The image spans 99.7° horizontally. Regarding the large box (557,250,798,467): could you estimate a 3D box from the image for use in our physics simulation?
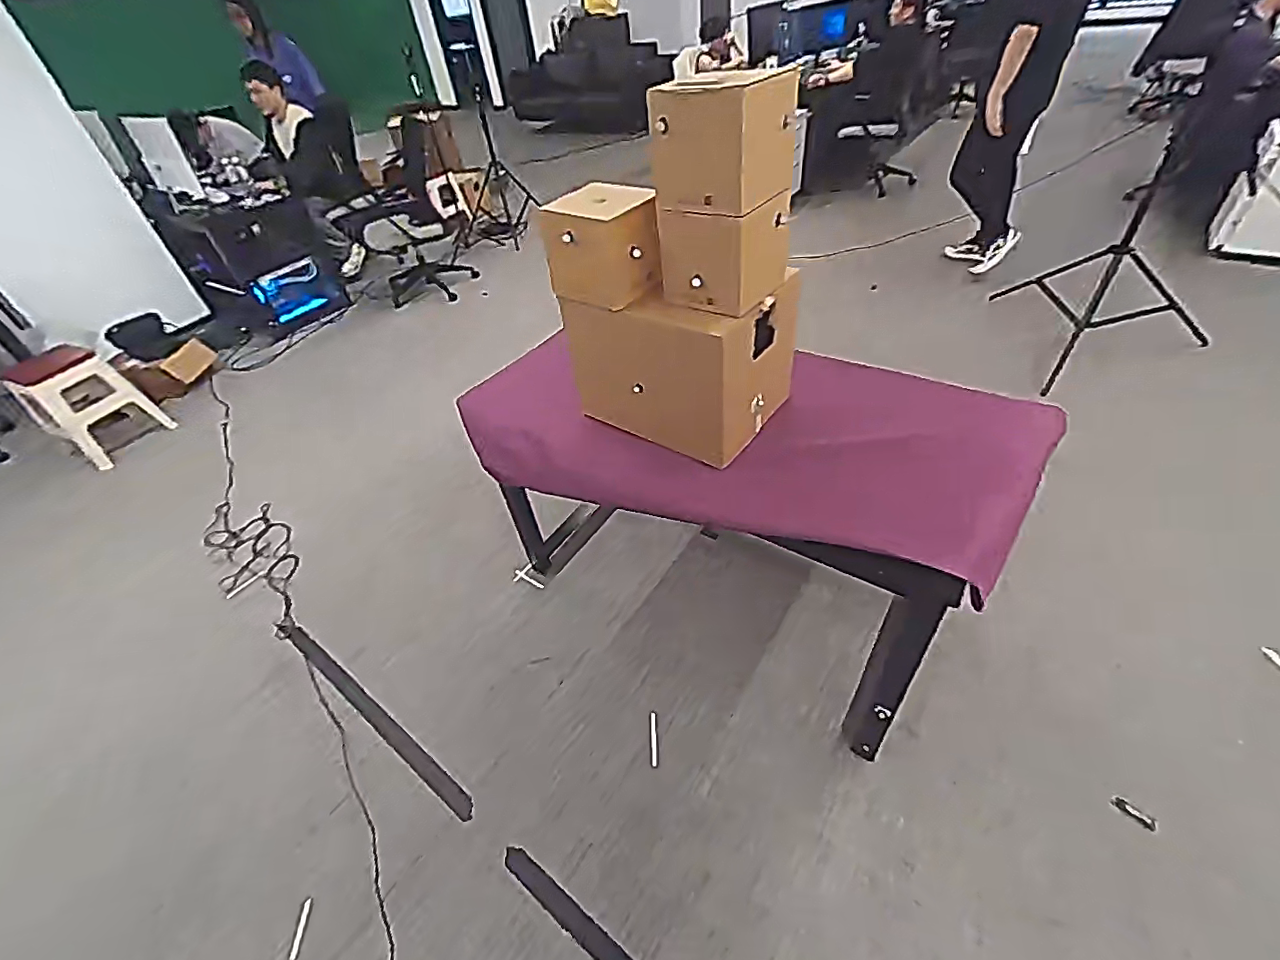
[{"bbox_3d":[0.092,-0.281,1.197,0.408,0.320,0.320,23,49,30],"label":"large box"}]

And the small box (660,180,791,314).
[{"bbox_3d":[0.154,-0.422,0.975,0.168,0.176,0.179,22,50,31],"label":"small box"}]
